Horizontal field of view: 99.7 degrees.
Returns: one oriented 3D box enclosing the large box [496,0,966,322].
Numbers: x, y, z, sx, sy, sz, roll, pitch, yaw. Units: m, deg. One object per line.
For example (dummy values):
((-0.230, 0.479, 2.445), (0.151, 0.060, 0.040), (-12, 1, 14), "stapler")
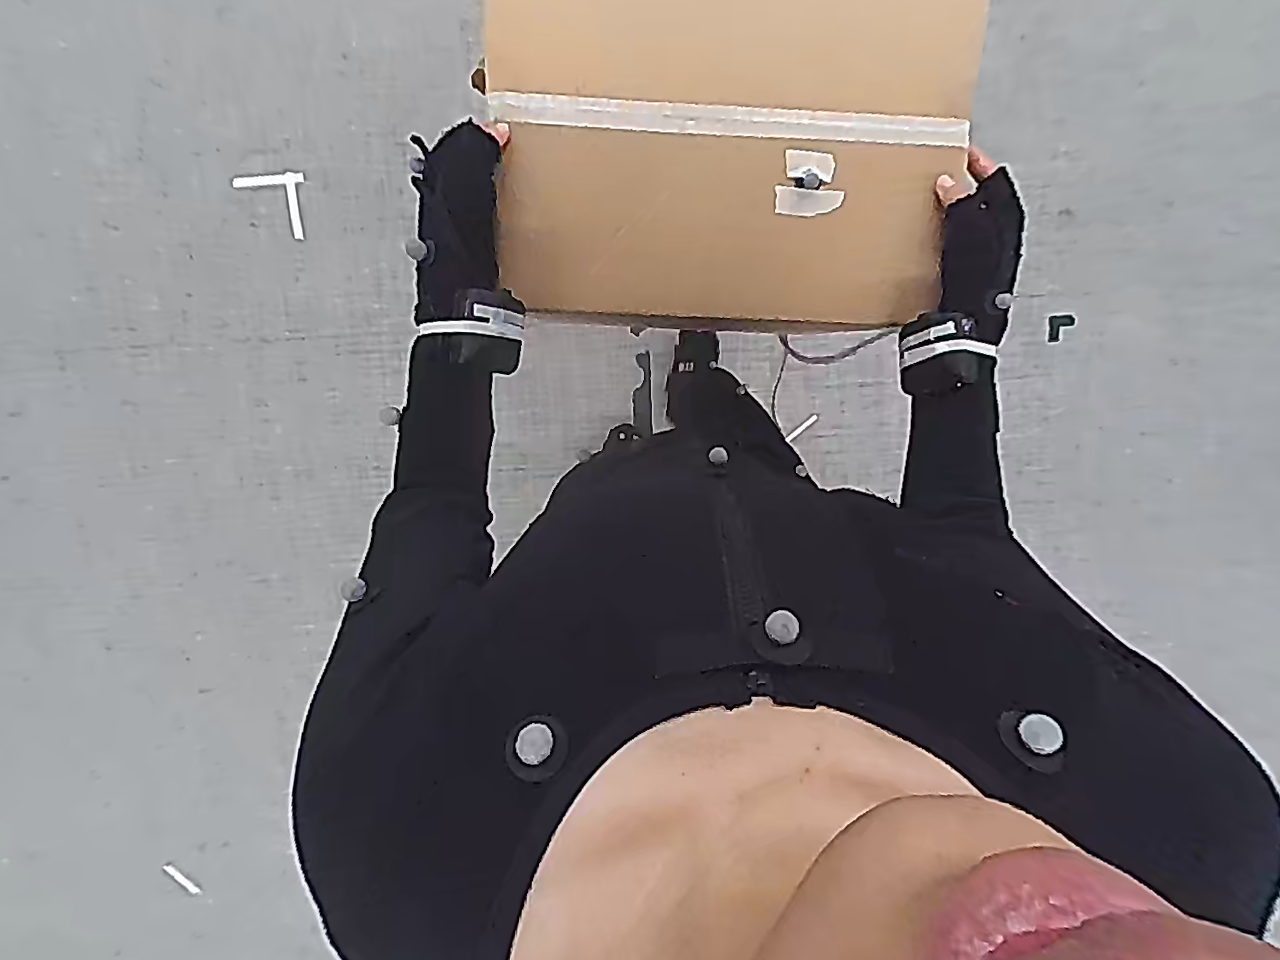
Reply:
((0.068, -0.350, 0.616), (0.408, 0.320, 0.320), (1, 104, -4), "large box")
